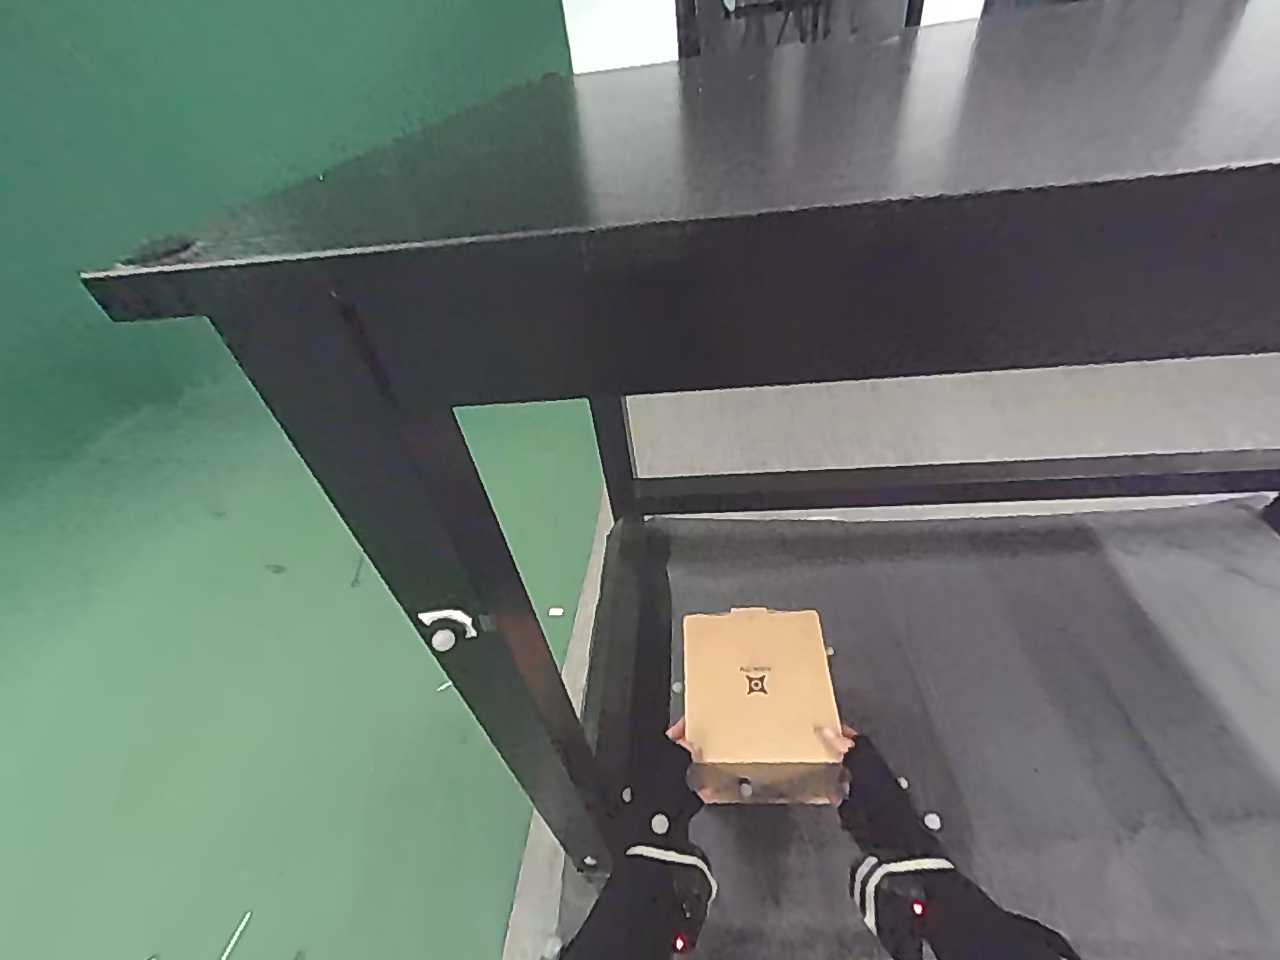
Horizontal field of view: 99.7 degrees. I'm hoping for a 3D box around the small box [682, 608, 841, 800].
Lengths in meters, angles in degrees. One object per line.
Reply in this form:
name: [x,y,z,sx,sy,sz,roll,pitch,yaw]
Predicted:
small box: [0.142,0.279,0.668,0.168,0.176,0.179,-4,45,8]
